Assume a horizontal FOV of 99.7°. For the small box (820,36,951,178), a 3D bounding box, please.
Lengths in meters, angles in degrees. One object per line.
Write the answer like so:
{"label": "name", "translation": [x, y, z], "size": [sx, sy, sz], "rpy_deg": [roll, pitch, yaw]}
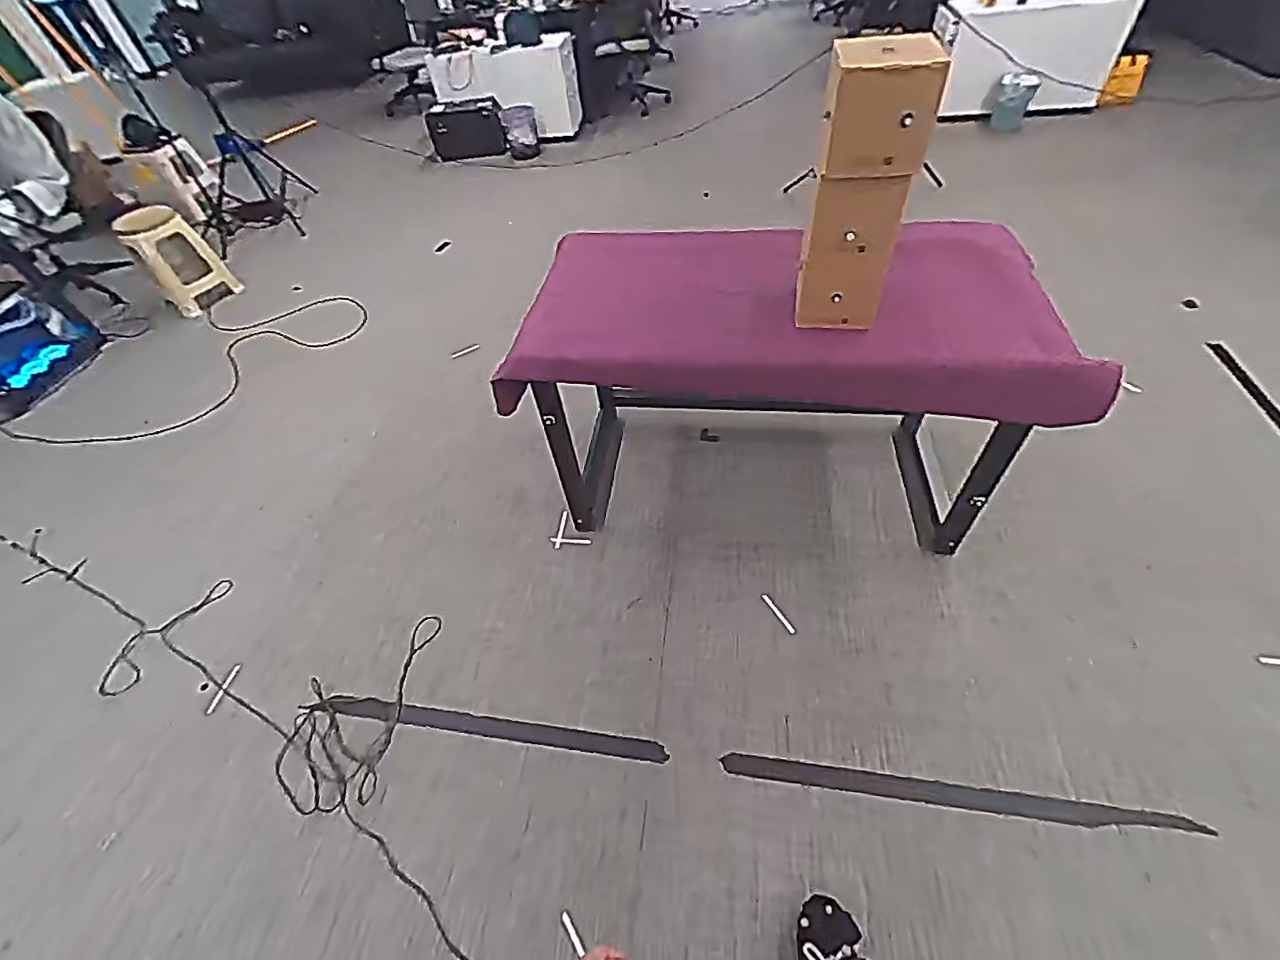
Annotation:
{"label": "small box", "translation": [0.420, -0.654, 0.957], "size": [0.168, 0.176, 0.179], "rpy_deg": [3, 50, 8]}

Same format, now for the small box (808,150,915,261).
{"label": "small box", "translation": [0.436, -0.566, 1.094], "size": [0.168, 0.176, 0.179], "rpy_deg": [5, 51, 11]}

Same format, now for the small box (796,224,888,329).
{"label": "small box", "translation": [0.448, -0.457, 1.217], "size": [0.168, 0.176, 0.179], "rpy_deg": [6, 50, 11]}
